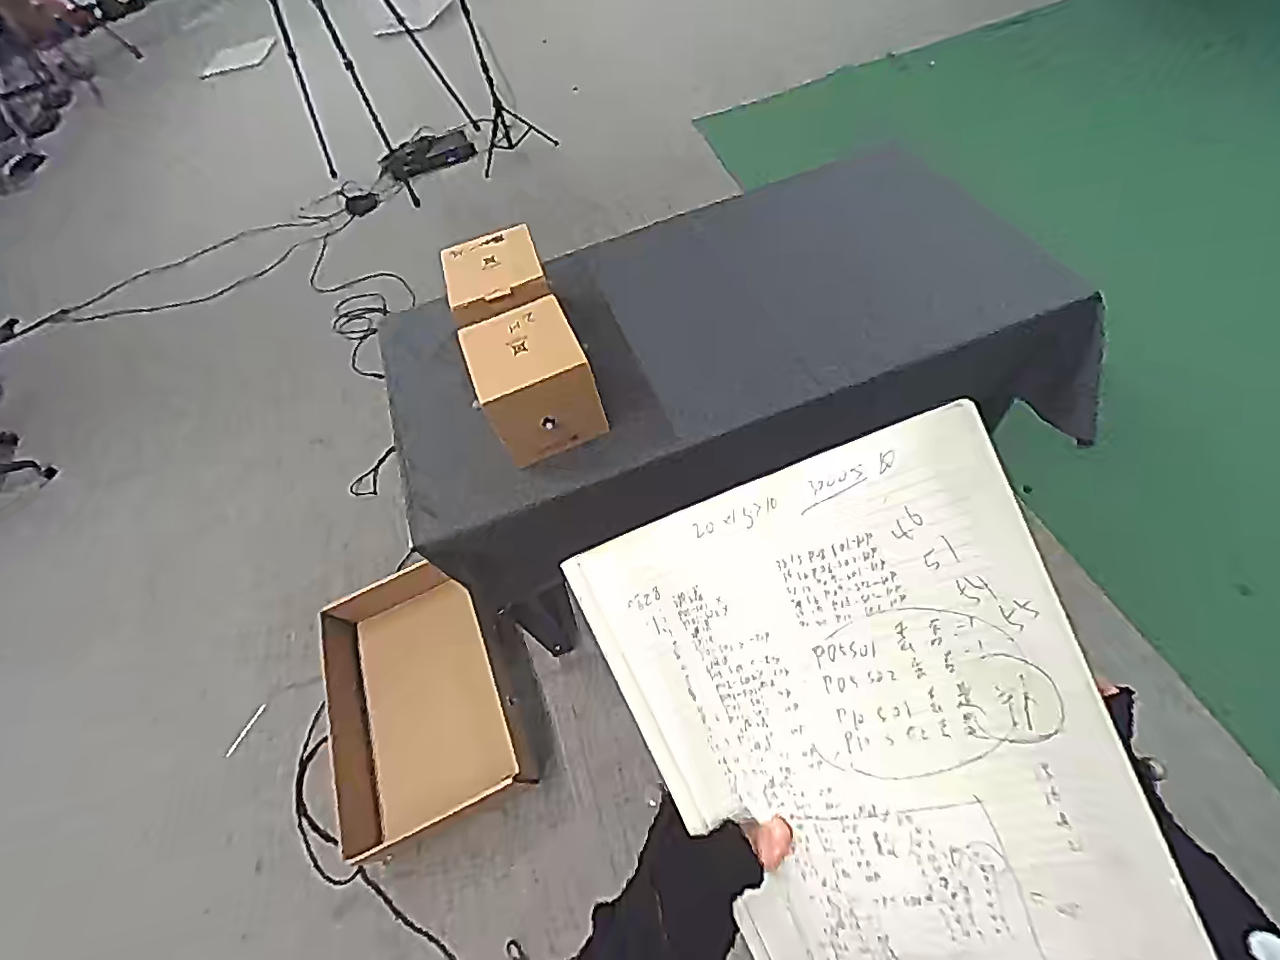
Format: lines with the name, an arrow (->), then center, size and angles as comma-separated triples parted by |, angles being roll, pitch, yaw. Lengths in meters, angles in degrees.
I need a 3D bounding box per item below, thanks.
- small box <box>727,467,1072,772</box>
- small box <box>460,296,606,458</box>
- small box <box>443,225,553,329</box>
small box -> 0.164, 0.115, 0.418 | 0.168, 0.176, 0.179 | -9, 59, 3
small box -> -0.168, -0.157, 0.877 | 0.168, 0.176, 0.179 | -22, 56, -5
small box -> -0.245, -0.330, 1.005 | 0.168, 0.176, 0.179 | -19, 57, -2
